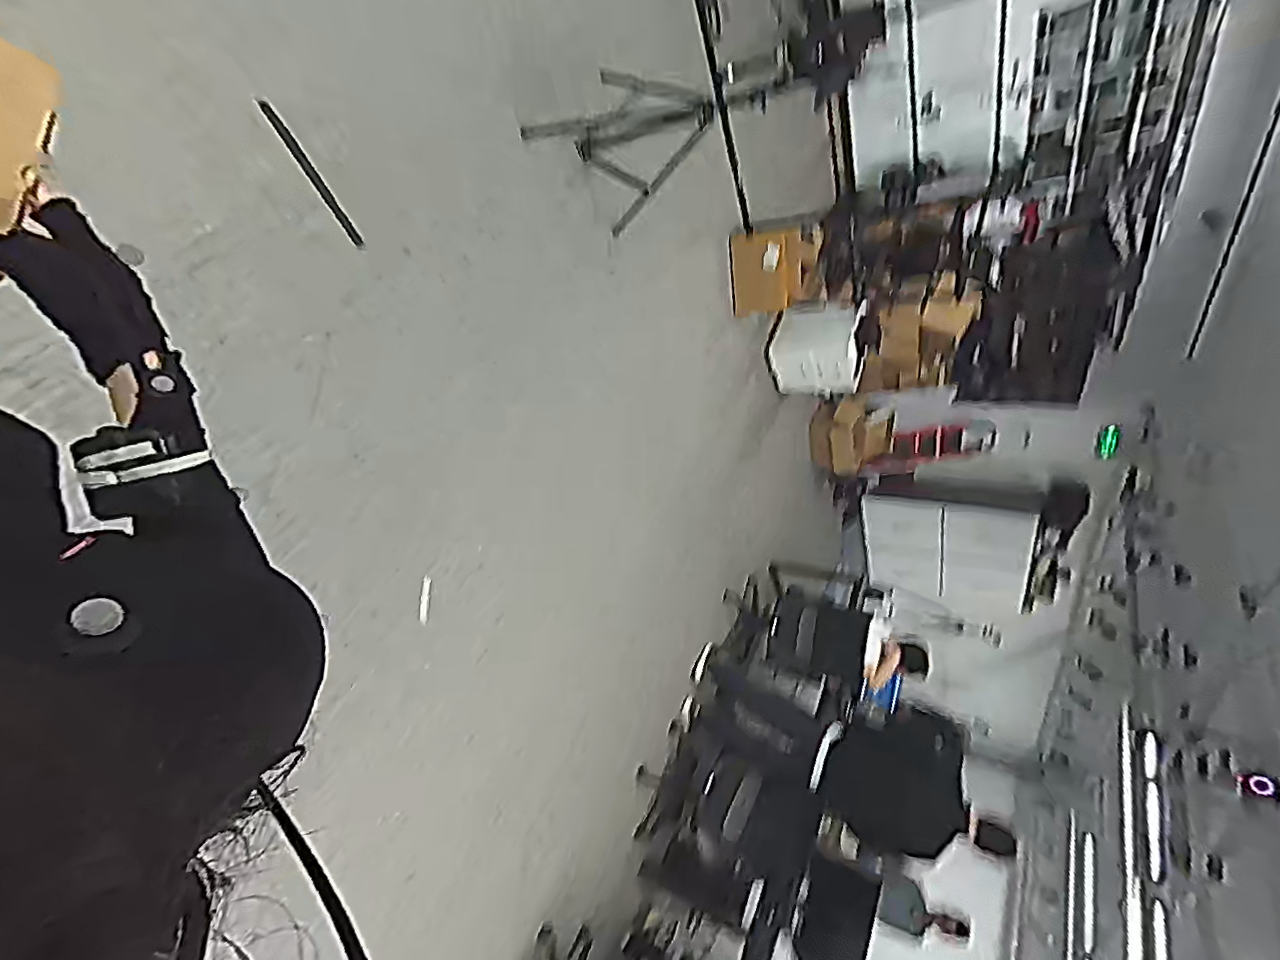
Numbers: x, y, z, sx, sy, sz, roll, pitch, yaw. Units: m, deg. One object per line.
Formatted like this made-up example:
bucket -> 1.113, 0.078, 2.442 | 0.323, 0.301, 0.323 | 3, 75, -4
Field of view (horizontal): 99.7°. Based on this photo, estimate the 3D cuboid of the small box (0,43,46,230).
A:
small box -> -0.566, -0.251, 0.362 | 0.179, 0.176, 0.168 | 18, 82, -58
